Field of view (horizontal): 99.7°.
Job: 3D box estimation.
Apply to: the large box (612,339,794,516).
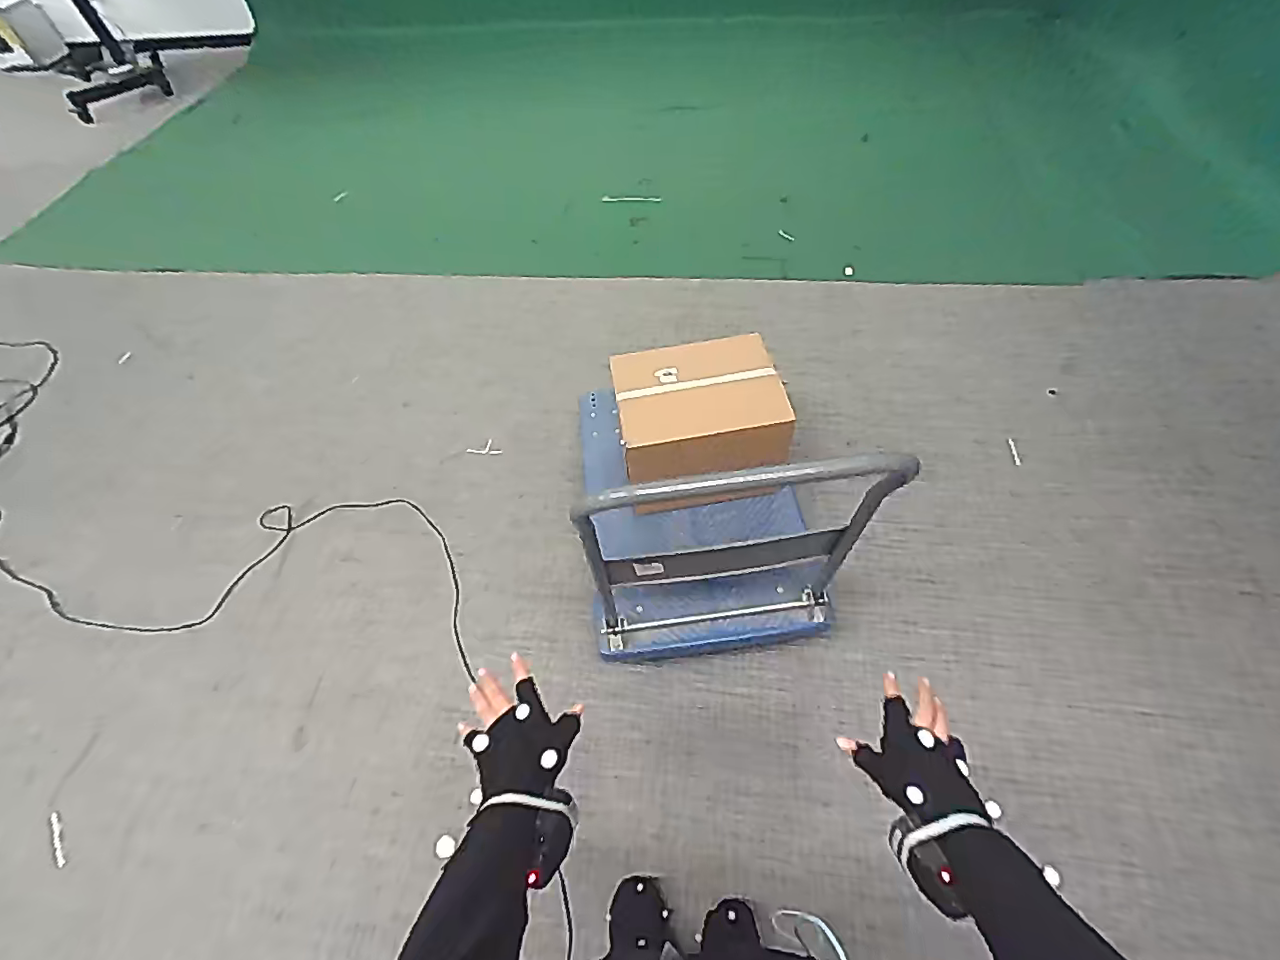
[{"bbox_3d":[0.157,-0.135,1.468,0.408,0.320,0.320,-10,54,-2],"label":"large box"}]
